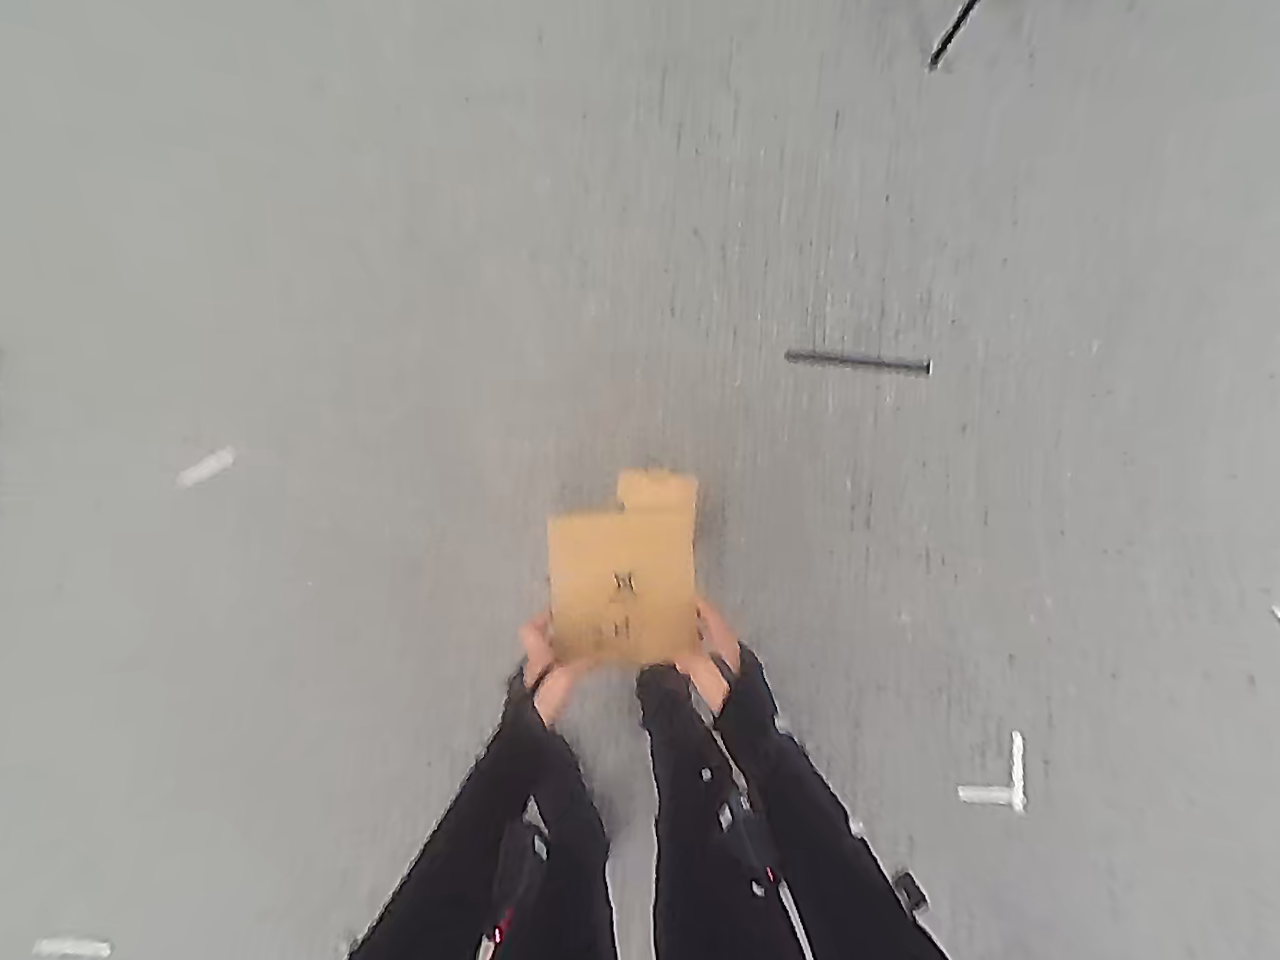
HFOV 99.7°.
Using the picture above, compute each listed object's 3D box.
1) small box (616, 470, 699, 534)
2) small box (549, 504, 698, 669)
[{"bbox_3d":[0.029,0.082,1.184,0.168,0.176,0.179,6,84,-1],"label":"small box"},{"bbox_3d":[-0.027,0.123,0.684,0.168,0.176,0.179,-3,88,-5],"label":"small box"}]
